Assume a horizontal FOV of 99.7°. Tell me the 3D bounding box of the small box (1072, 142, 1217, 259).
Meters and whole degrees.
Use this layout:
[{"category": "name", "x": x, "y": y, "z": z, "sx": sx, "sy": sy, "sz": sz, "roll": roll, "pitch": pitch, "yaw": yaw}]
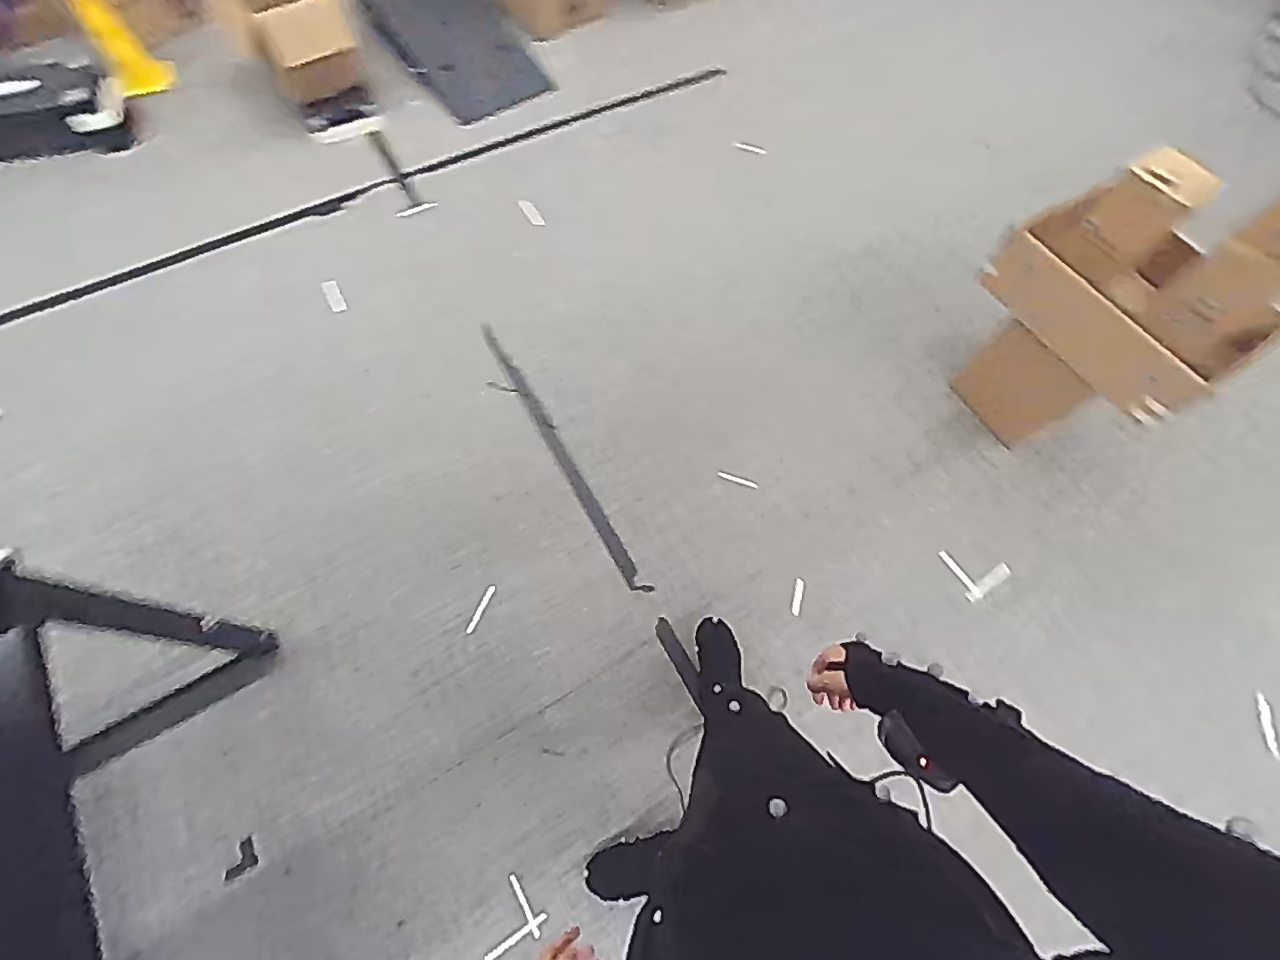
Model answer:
[{"category": "small box", "x": 1.224, "y": -0.682, "z": 1.332, "sx": 0.179, "sy": 0.176, "sz": 0.168, "roll": -32, "pitch": 71, "yaw": -17}]
